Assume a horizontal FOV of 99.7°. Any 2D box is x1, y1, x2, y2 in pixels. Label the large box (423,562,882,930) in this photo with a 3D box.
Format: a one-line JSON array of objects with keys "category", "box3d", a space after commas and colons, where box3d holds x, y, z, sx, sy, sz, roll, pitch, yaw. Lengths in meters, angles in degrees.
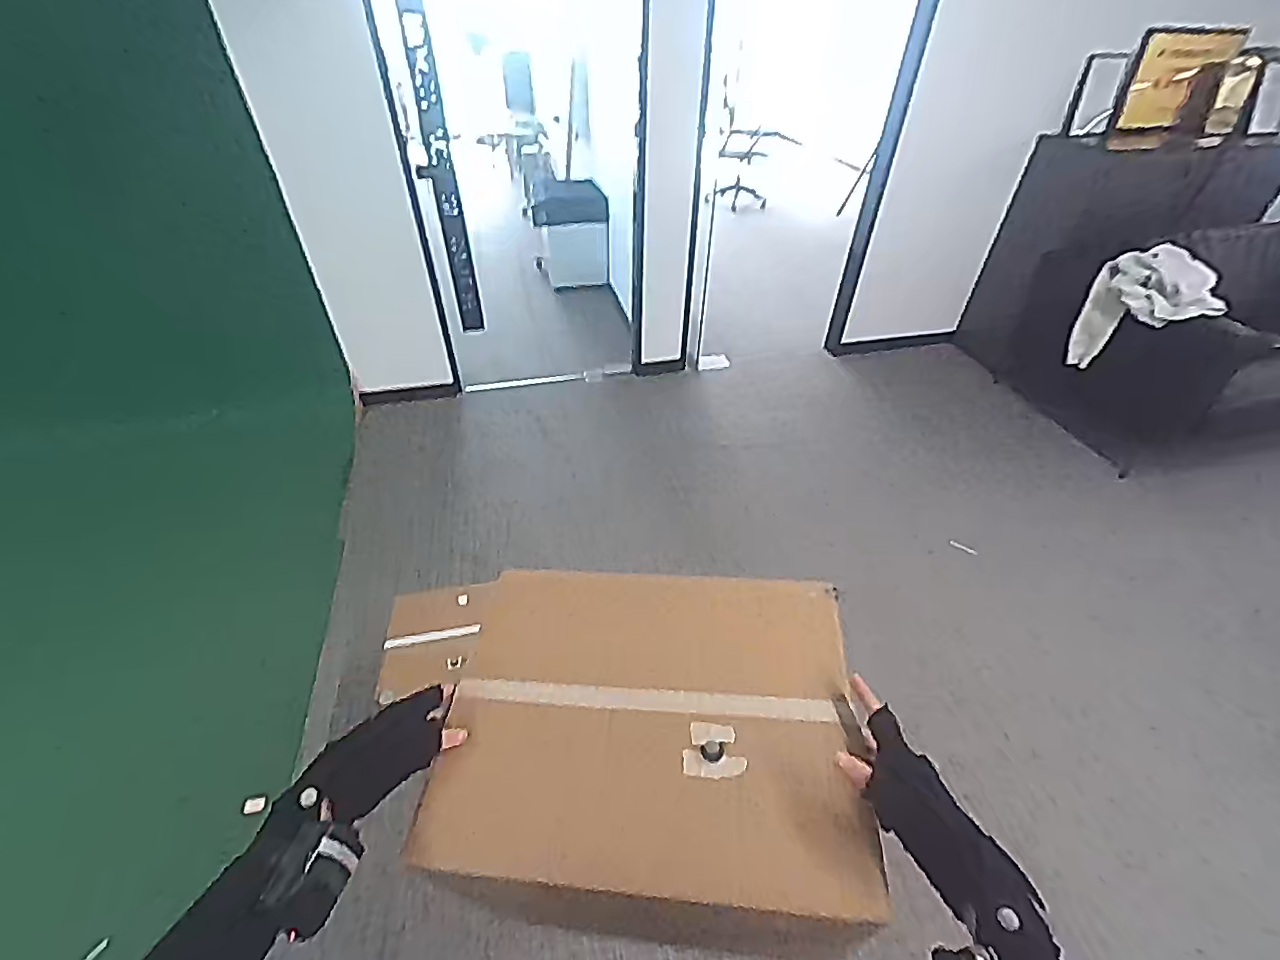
[{"category": "large box", "box3d": [0.023, 0.321, 0.667, 0.408, 0.320, 0.320, 2, 46, 7]}]
